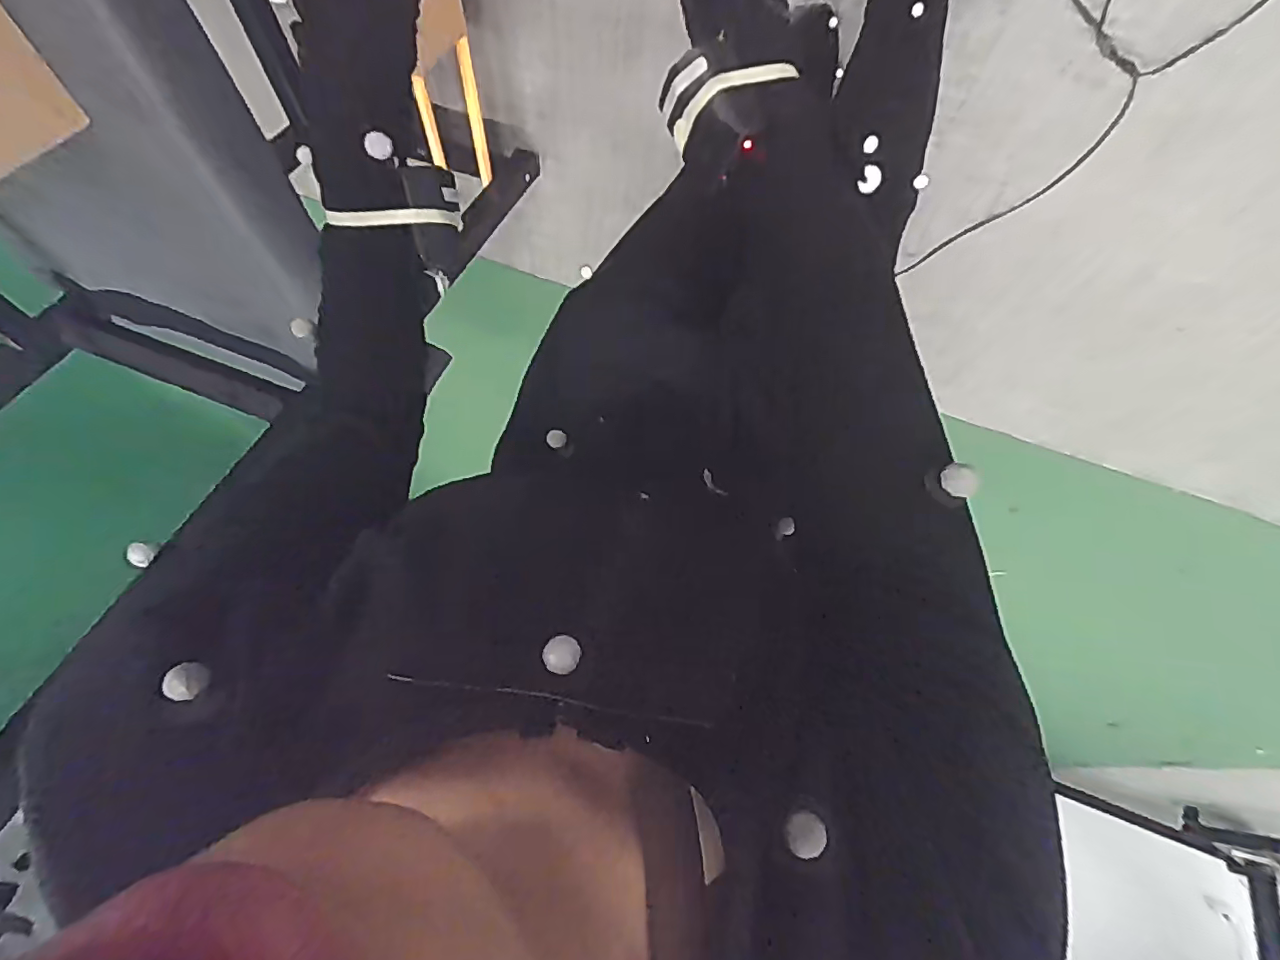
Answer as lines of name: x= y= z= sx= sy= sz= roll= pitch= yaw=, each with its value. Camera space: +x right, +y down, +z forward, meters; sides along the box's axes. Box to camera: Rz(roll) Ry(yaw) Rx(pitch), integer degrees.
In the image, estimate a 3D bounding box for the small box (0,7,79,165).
small box: x=-0.678 y=-0.383 z=0.469 sx=0.168 sy=0.176 sz=0.179 roll=21 pitch=152 yaw=4
